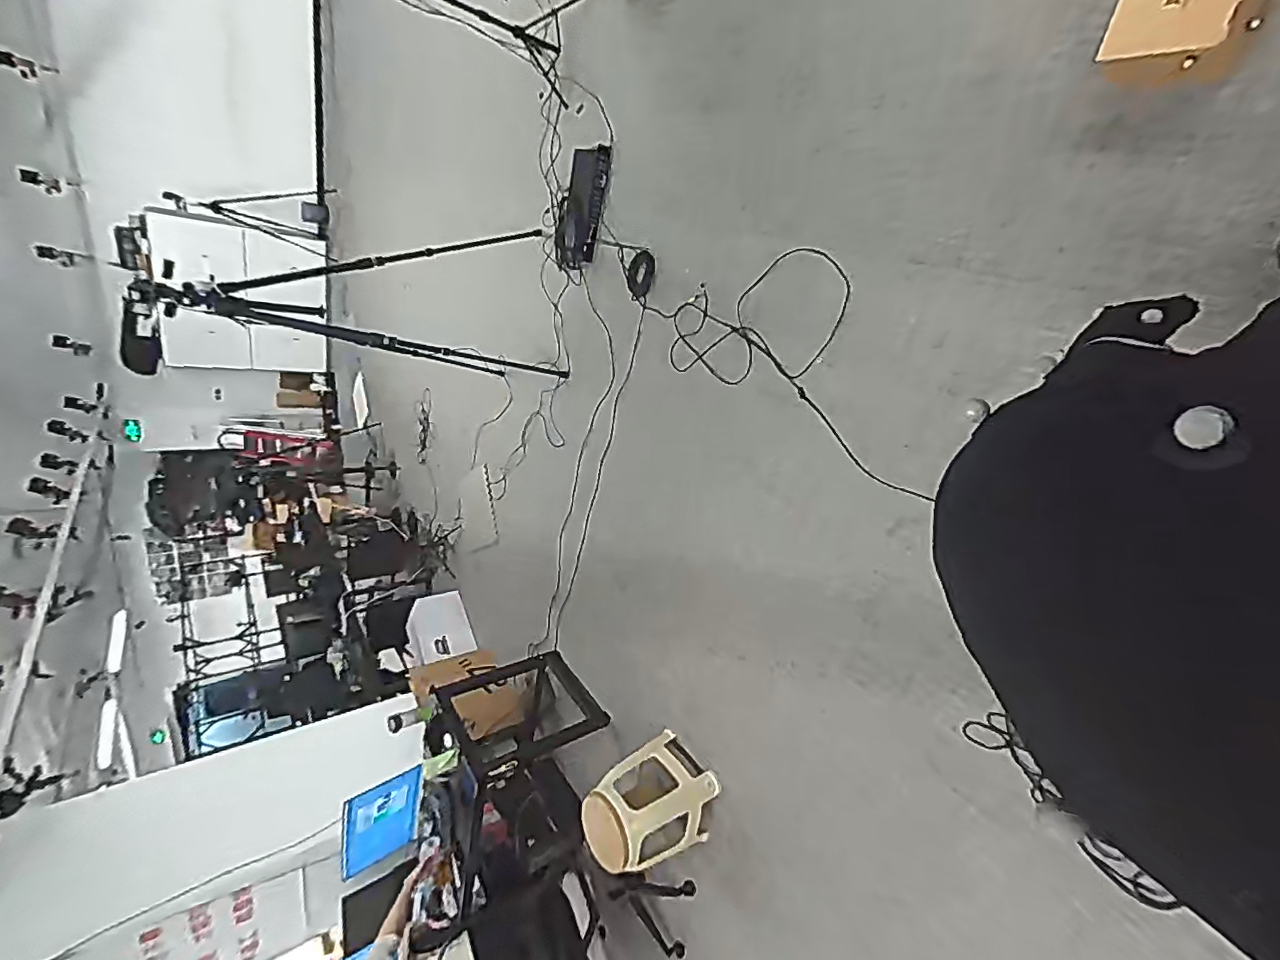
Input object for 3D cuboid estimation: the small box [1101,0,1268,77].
[{"bbox_3d":[0.975,-0.845,0.955,0.179,0.176,0.168,31,120,44],"label":"small box"}]
